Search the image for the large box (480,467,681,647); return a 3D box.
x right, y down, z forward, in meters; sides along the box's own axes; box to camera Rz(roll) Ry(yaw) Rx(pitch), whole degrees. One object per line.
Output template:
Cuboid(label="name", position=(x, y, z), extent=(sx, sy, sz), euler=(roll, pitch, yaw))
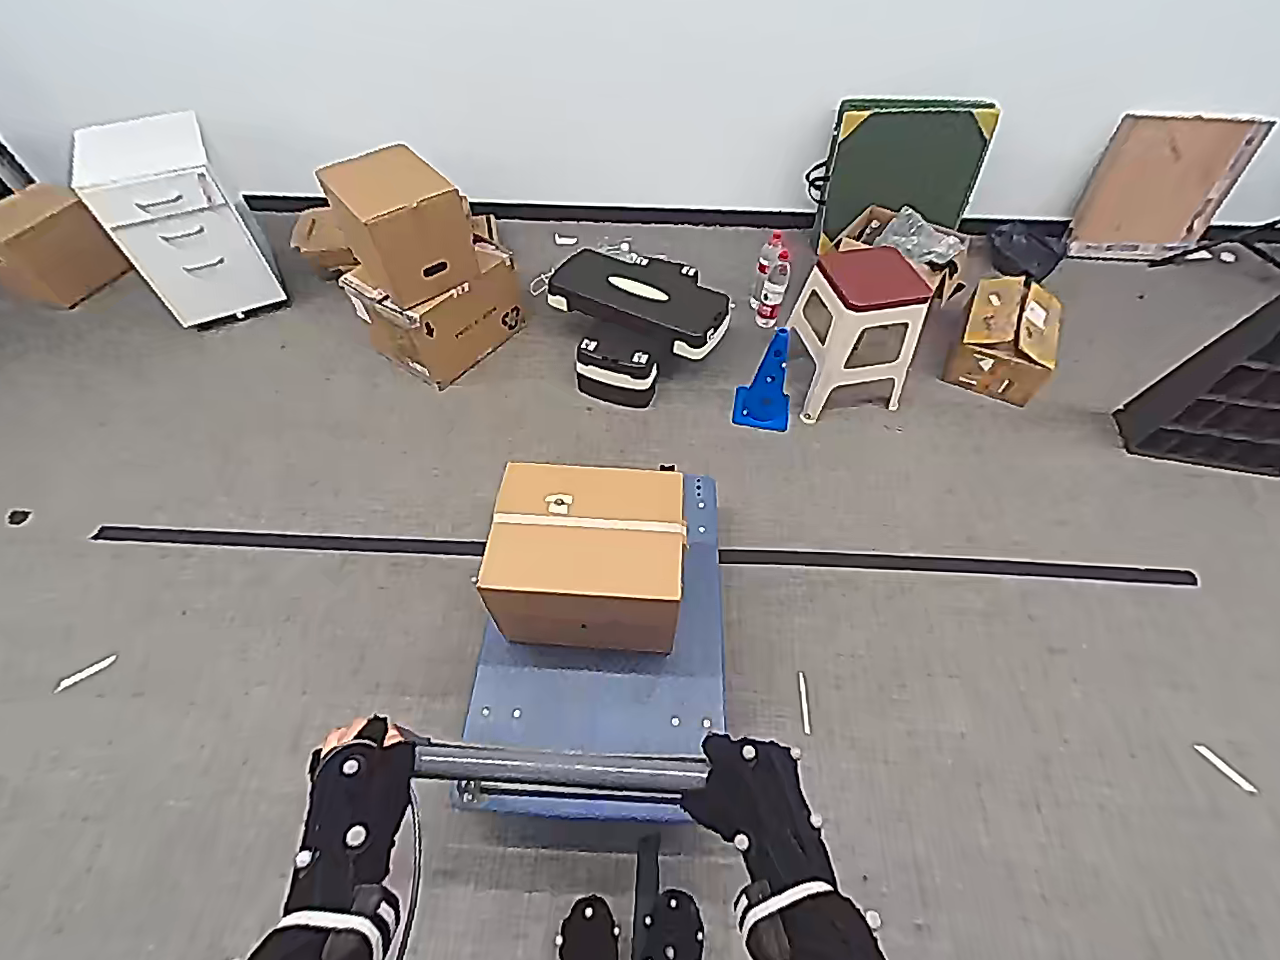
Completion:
Cuboid(label="large box", position=(-0.111, 0.188, 1.269), extent=(0.408, 0.320, 0.320), euler=(3, 54, 2))
